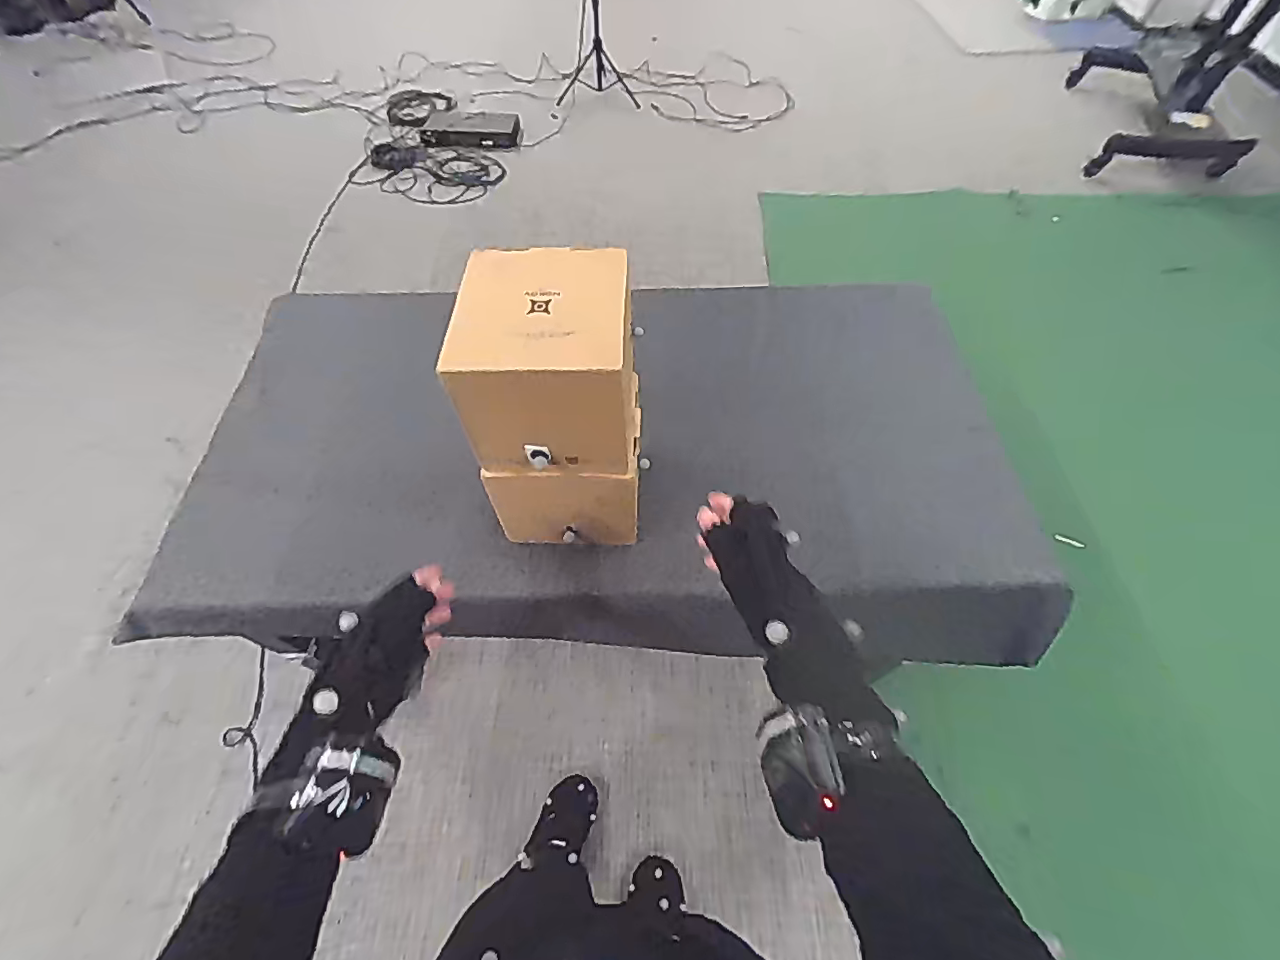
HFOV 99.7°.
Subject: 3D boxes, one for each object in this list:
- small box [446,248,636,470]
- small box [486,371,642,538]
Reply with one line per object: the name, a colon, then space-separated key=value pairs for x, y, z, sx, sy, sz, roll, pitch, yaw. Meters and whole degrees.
small box: x=-0.091 y=-0.128 z=0.592 sx=0.168 sy=0.176 sz=0.179 roll=-1 pitch=59 yaw=1
small box: x=-0.088 y=-0.032 z=0.724 sx=0.179 sy=0.176 sz=0.168 roll=1 pitch=57 yaw=0
